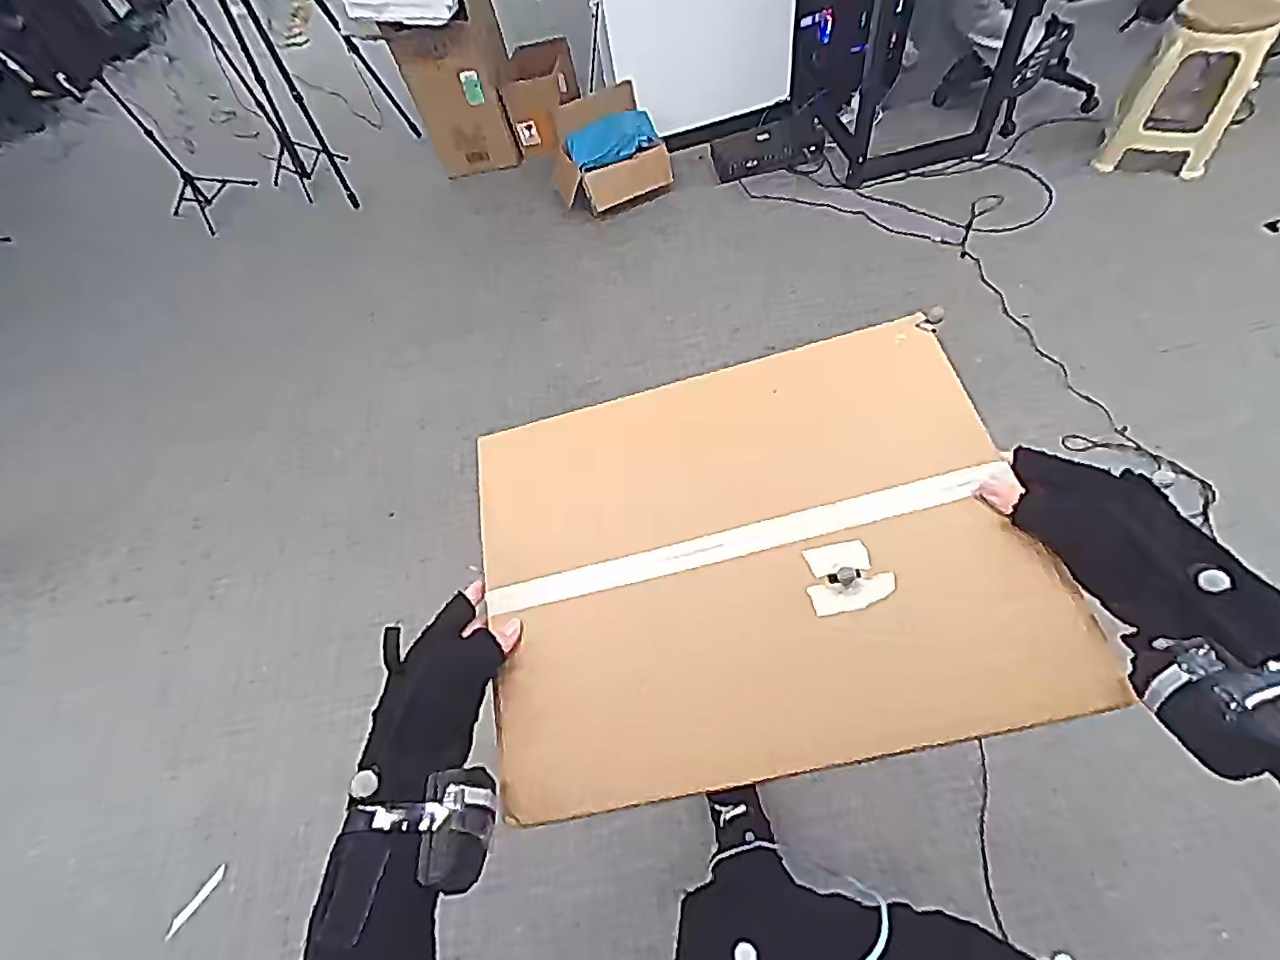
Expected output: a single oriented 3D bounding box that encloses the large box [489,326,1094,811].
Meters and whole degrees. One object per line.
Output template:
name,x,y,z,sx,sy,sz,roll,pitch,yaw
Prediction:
large box,0.104,0.109,0.562,0.408,0.320,0.320,-15,65,6
